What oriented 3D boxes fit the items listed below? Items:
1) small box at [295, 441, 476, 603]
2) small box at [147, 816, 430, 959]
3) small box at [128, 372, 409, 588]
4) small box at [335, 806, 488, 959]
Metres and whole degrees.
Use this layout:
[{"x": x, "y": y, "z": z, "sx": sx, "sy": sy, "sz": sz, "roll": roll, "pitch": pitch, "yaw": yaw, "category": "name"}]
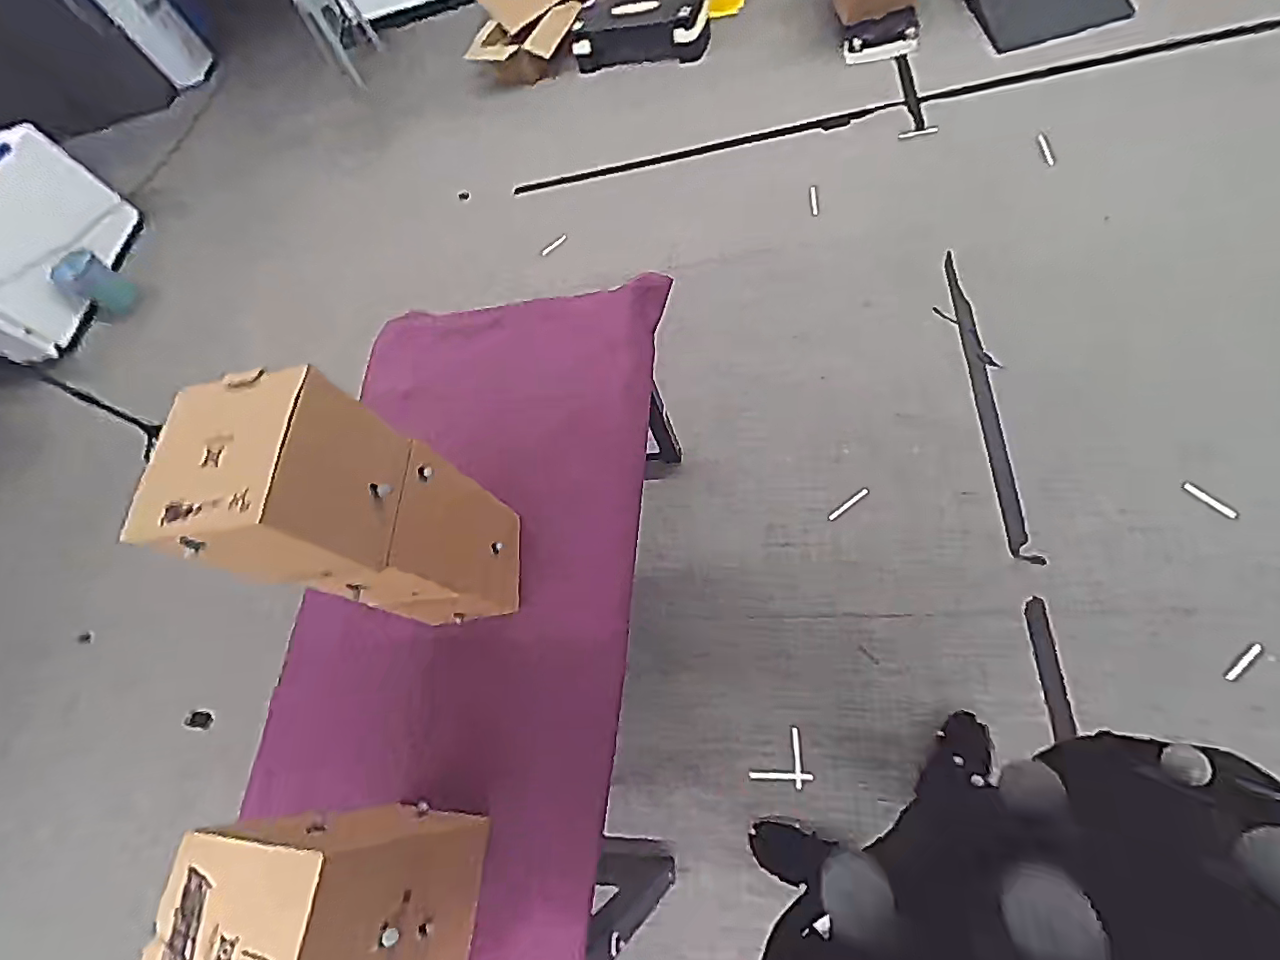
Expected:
[{"x": -0.347, "y": 0.069, "z": 0.747, "sx": 0.168, "sy": 0.176, "sz": 0.179, "roll": -7, "pitch": 64, "yaw": 13, "category": "small box"}, {"x": -0.356, "y": 0.459, "z": 0.561, "sx": 0.179, "sy": 0.176, "sz": 0.168, "roll": -2, "pitch": 64, "yaw": 15, "category": "small box"}, {"x": -0.386, "y": 0.009, "z": 0.600, "sx": 0.168, "sy": 0.176, "sz": 0.179, "roll": -7, "pitch": 63, "yaw": 14, "category": "small box"}, {"x": -0.319, "y": 0.541, "z": 0.700, "sx": 0.168, "sy": 0.176, "sz": 0.179, "roll": -2, "pitch": 64, "yaw": 16, "category": "small box"}]
